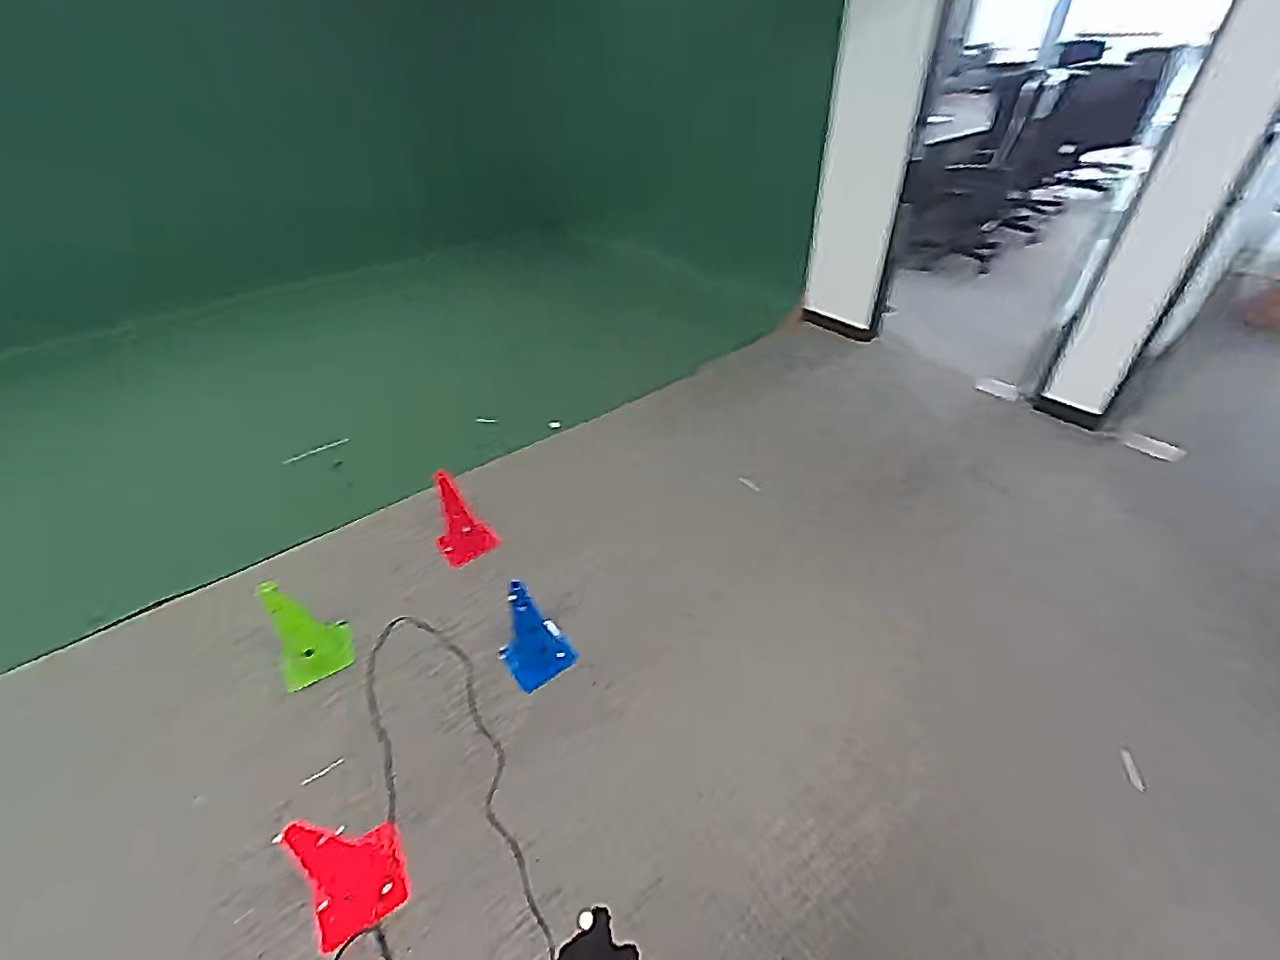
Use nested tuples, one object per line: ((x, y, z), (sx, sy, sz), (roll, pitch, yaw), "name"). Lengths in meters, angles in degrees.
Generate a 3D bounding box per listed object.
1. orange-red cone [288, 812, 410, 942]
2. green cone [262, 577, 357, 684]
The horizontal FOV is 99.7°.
((-0.673, 0.814, 1.185), (0.198, 0.360, 0.199), (-23, 42, -22), "orange-red cone")
((-1.061, 0.426, 1.668), (0.200, 0.368, 0.202), (-25, 46, -22), "green cone")
